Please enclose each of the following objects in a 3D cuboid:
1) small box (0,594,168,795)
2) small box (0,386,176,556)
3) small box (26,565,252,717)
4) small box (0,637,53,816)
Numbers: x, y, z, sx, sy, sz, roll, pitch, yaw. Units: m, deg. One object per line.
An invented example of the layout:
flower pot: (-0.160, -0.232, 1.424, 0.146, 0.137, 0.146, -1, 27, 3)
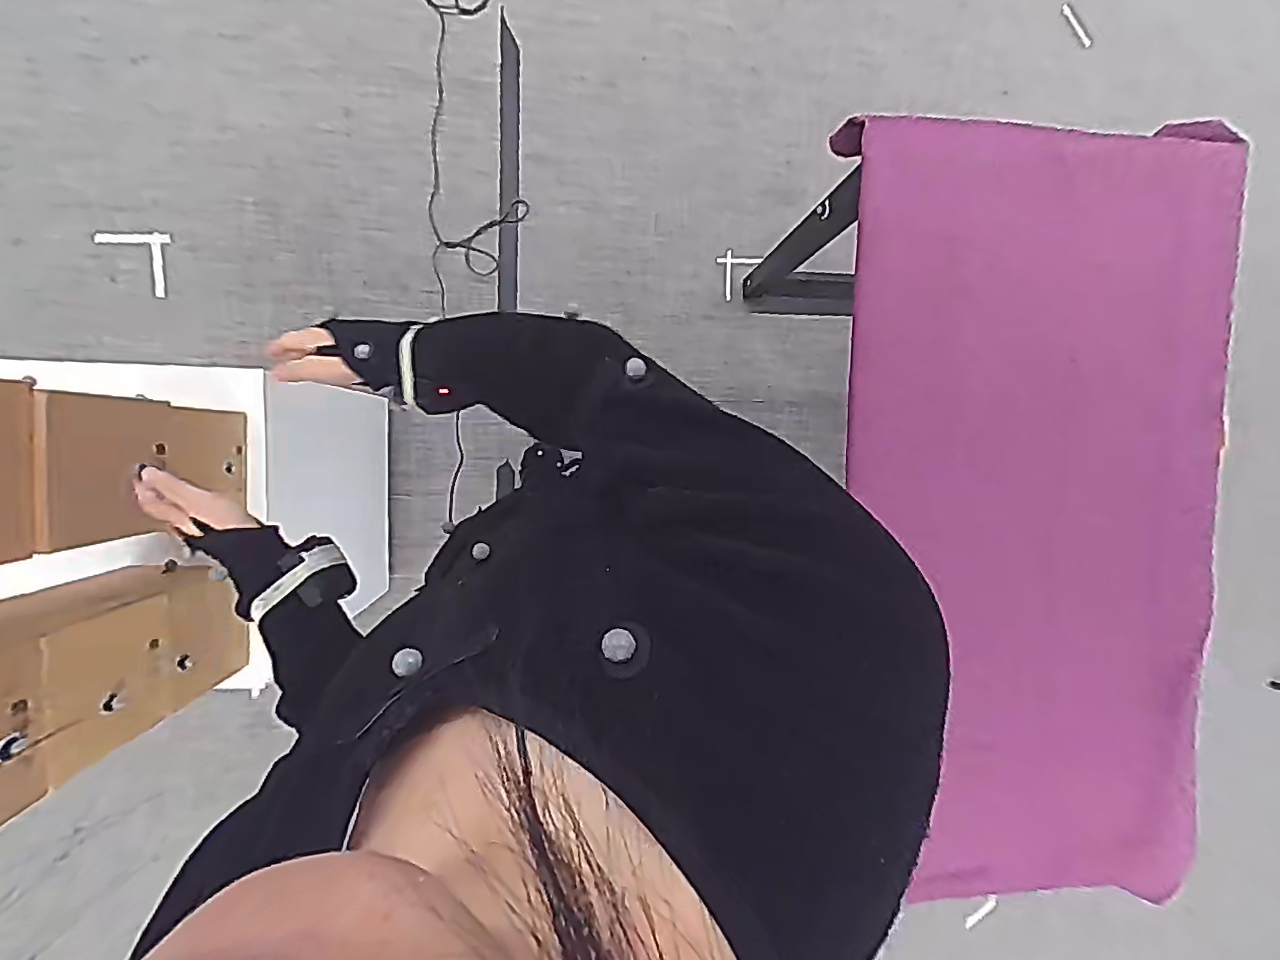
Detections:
small box: (-0.683, 0.231, 0.613, 0.179, 0.176, 0.168, 0, 94, -6)
small box: (-0.668, -0.017, 0.595, 0.179, 0.176, 0.168, 3, 94, -7)
small box: (-0.701, 0.221, 0.775, 0.179, 0.176, 0.168, 1, 93, -5)
small box: (-0.668, 0.240, 0.451, 0.179, 0.176, 0.168, 0, 95, -6)
